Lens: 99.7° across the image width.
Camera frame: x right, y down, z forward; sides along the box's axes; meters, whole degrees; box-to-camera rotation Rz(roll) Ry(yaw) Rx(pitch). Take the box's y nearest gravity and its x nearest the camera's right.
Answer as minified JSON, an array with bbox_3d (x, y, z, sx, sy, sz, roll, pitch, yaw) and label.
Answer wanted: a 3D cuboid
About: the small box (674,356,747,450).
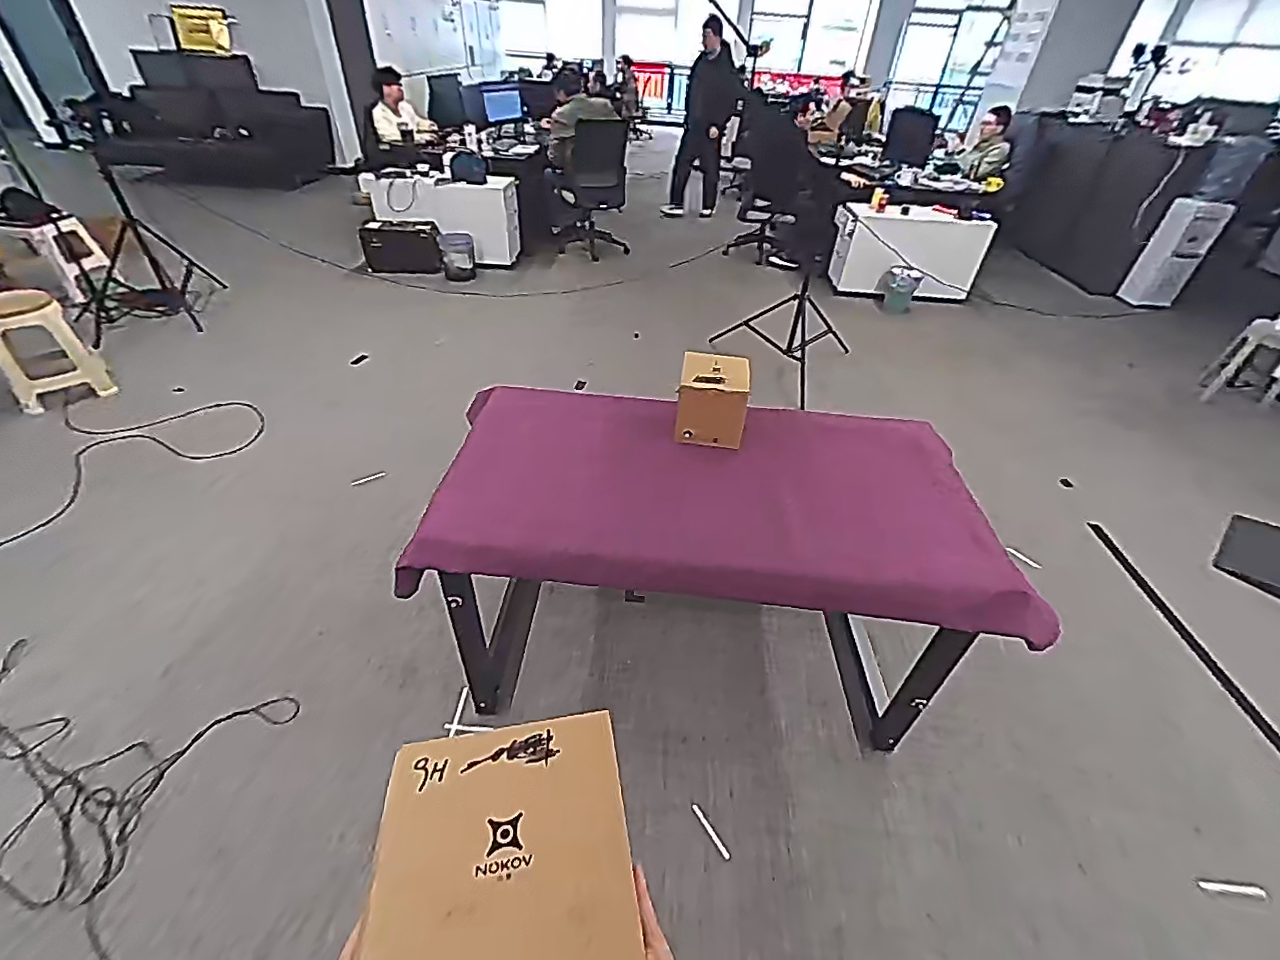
[{"bbox_3d":[0.179,-0.196,1.383,0.168,0.176,0.179,7,40,4],"label":"small box"}]

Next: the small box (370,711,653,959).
[{"bbox_3d":[-0.084,0.310,0.404,0.168,0.176,0.179,-7,37,-10],"label":"small box"}]
